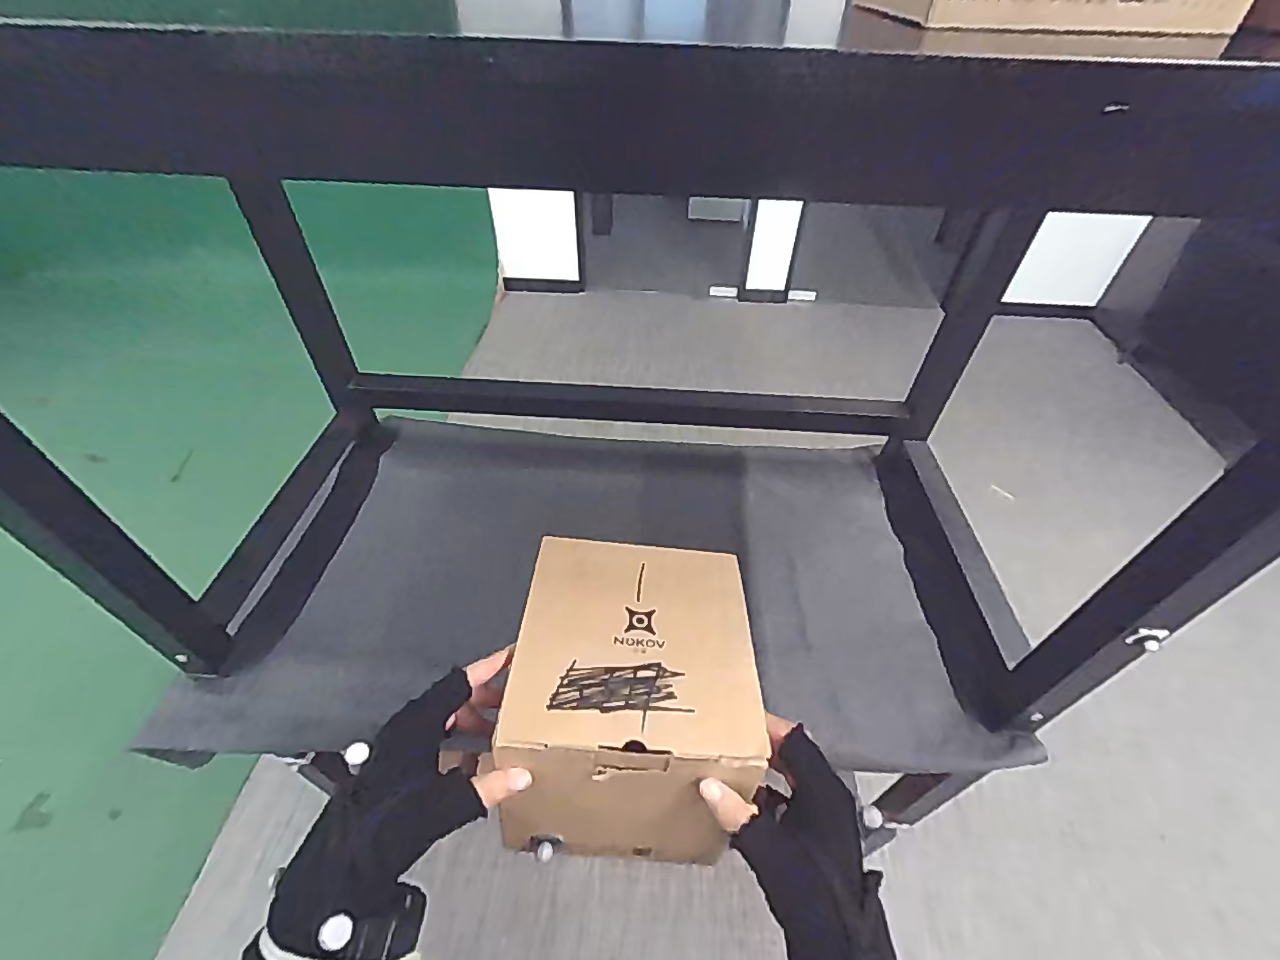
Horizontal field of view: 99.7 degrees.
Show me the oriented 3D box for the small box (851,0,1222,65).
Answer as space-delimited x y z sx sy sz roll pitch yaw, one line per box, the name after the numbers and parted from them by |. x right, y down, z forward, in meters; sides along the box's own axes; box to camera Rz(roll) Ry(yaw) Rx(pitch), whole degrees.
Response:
0.239 -0.359 0.310 0.168 0.176 0.179 3 44 1 | small box
